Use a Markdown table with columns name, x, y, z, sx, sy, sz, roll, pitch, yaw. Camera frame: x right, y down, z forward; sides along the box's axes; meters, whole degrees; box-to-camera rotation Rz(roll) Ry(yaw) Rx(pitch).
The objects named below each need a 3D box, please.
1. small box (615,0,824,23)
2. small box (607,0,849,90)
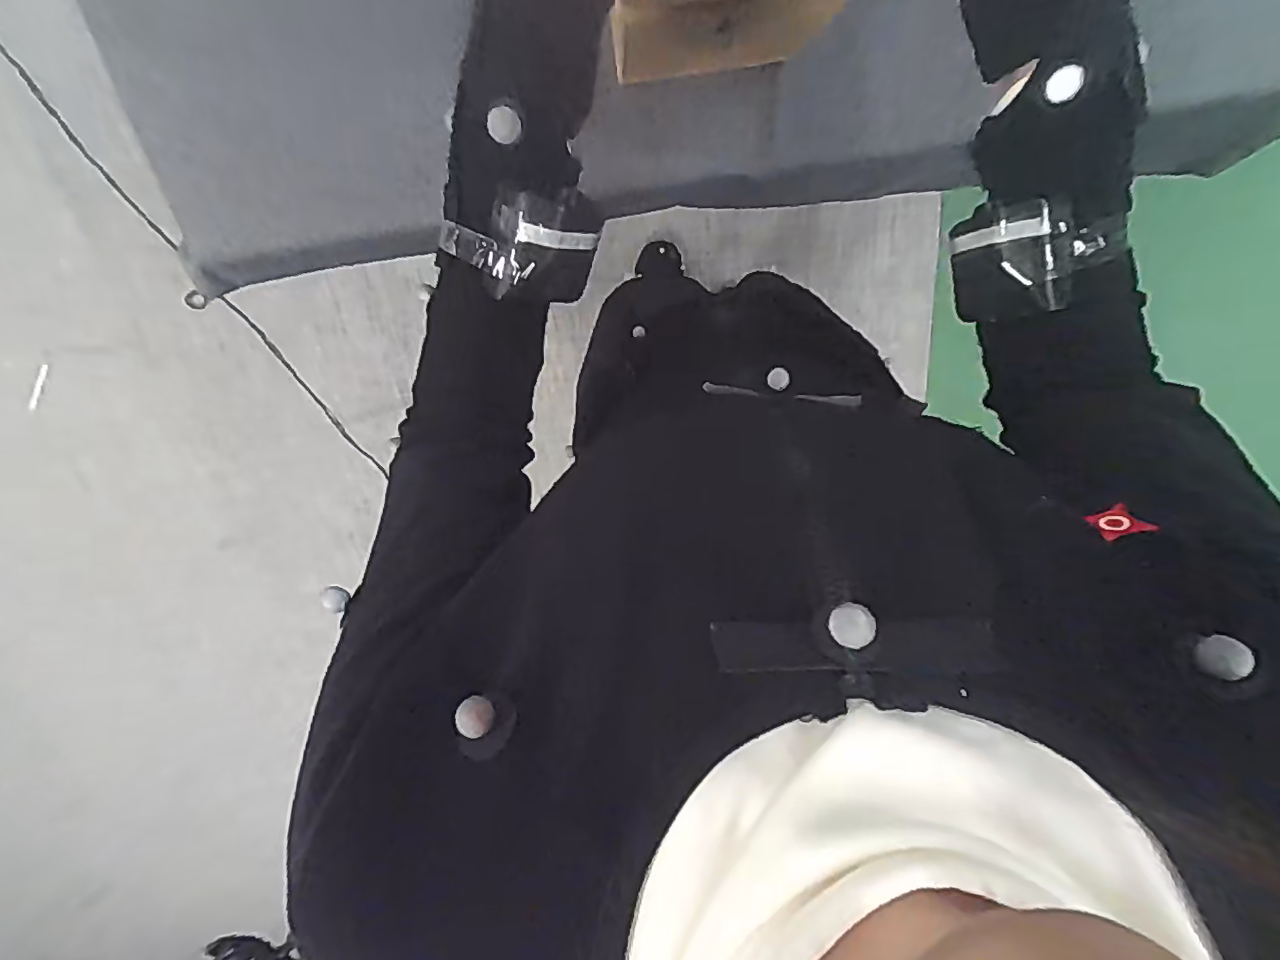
| name | x | y | z | sx | sy | sz | roll | pitch | yaw |
| --- | --- | --- | --- | --- | --- | --- | --- | --- | --- |
| small box | 0.063 | -0.373 | 0.276 | 0.179 | 0.176 | 0.168 | -5 | 112 | 2 |
| small box | 0.056 | -0.437 | 0.431 | 0.179 | 0.176 | 0.168 | -8 | 114 | 0 |
